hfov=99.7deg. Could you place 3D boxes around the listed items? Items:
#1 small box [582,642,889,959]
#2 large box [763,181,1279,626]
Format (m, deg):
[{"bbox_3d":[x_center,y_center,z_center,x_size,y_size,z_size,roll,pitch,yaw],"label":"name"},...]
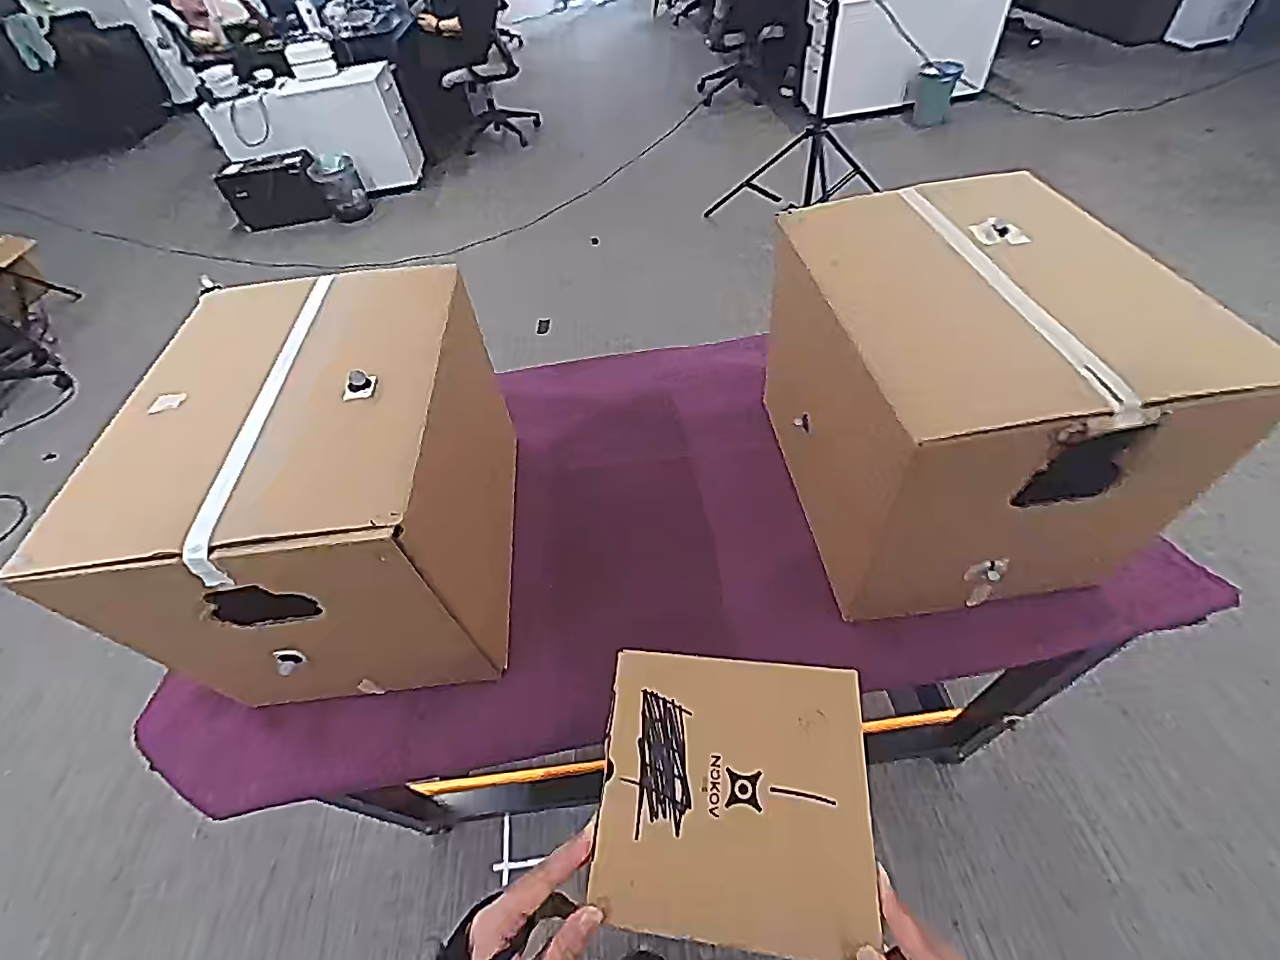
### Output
[{"bbox_3d":[0.070,0.237,0.414,0.179,0.176,0.168,2,56,9],"label":"small box"},{"bbox_3d":[0.353,-0.096,0.642,0.320,0.320,0.408,-9,48,0],"label":"large box"}]
